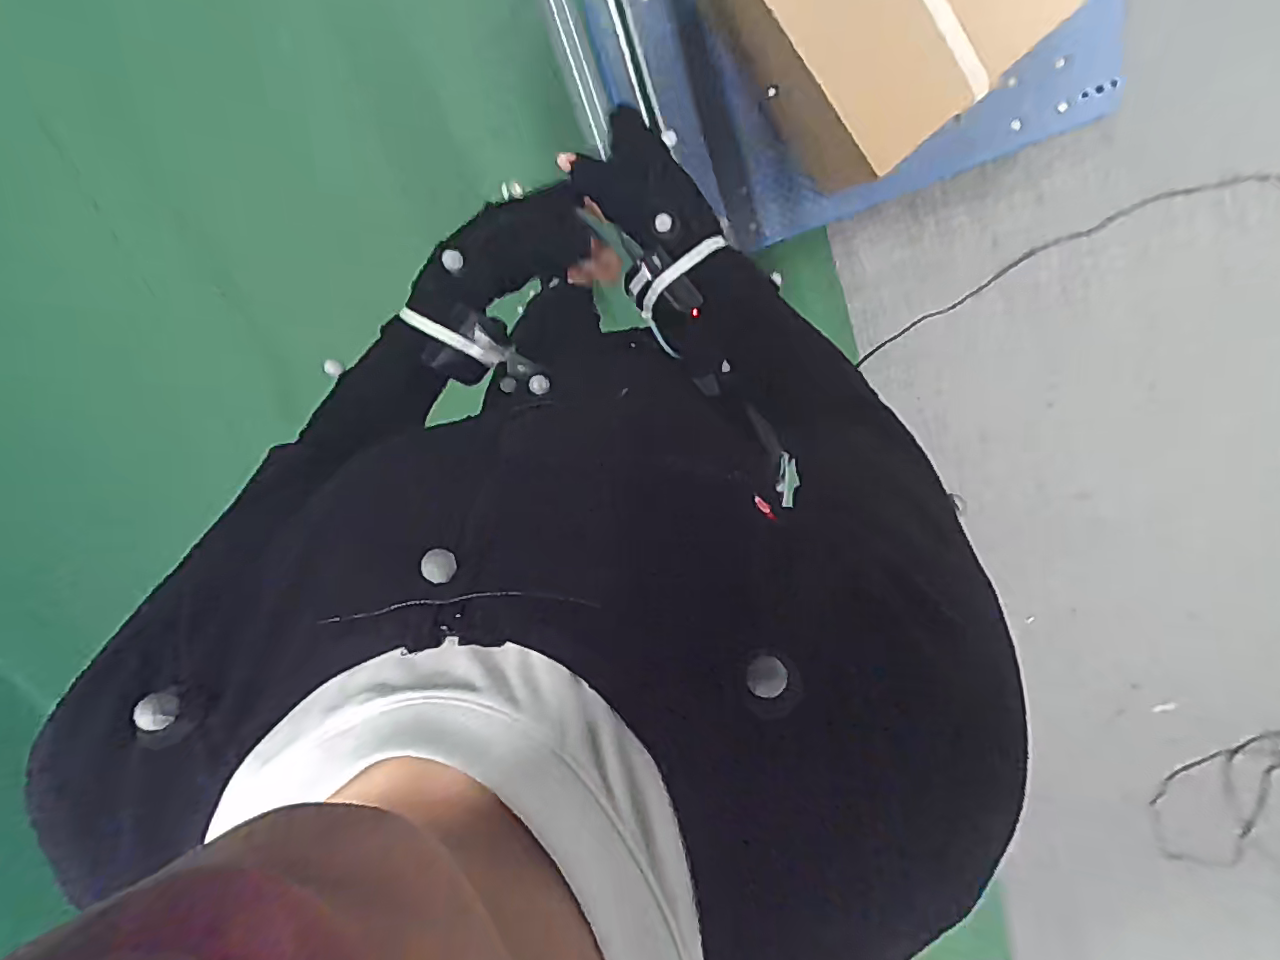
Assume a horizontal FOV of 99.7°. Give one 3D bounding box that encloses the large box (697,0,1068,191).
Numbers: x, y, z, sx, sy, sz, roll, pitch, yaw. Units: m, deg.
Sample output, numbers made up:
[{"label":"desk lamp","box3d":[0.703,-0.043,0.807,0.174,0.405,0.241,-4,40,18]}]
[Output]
[{"label":"large box","box3d":[0.332,-0.733,0.835,0.320,0.320,0.408,-39,105,17]}]
